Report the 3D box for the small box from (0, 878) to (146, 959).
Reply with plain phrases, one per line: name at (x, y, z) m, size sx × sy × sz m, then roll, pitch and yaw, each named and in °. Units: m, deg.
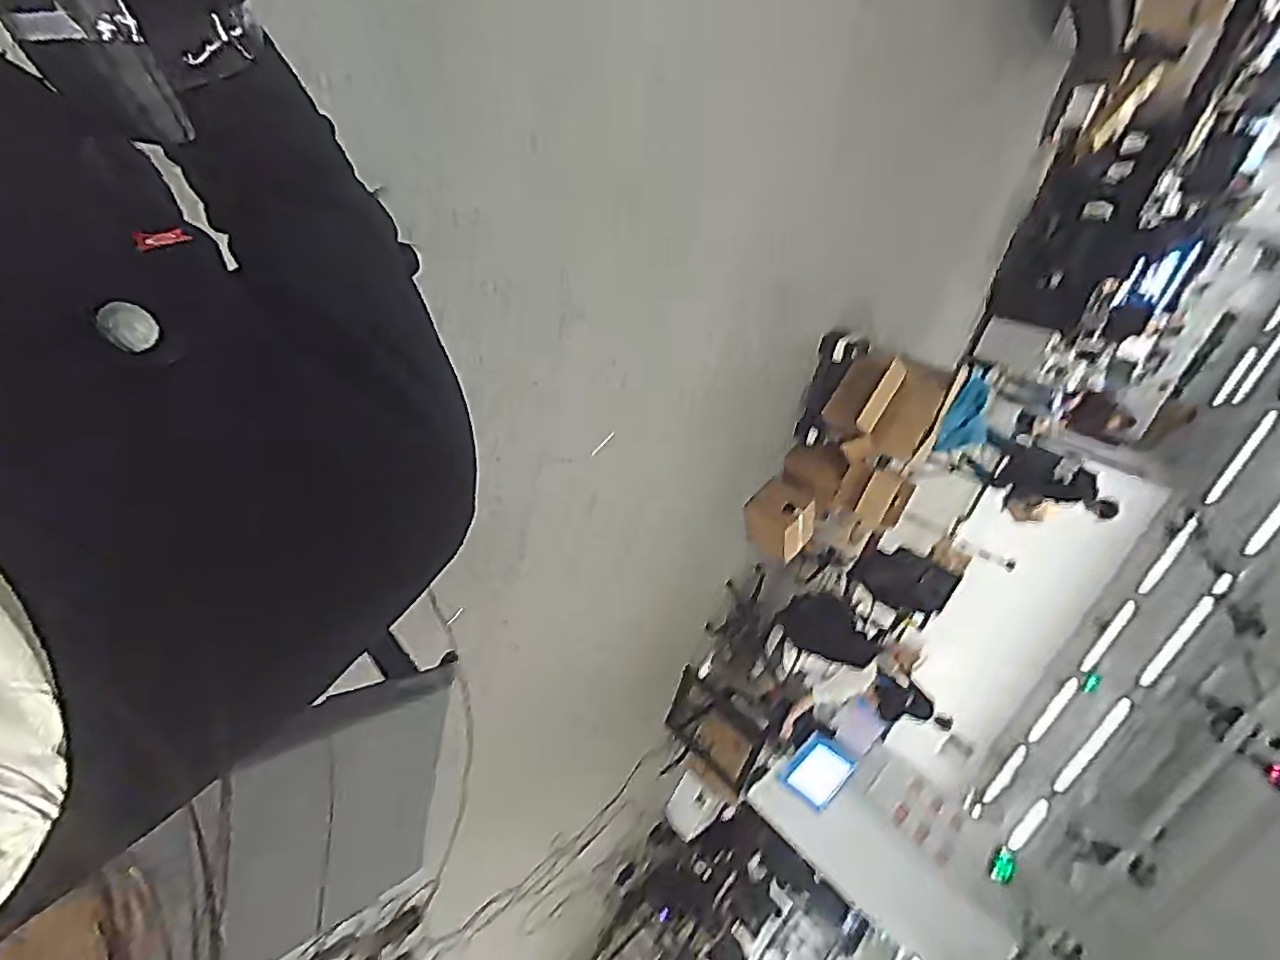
small box at (-0.766, 0.682, 0.707) m, size 0.179 × 0.176 × 0.168 m, roll -9°, pitch 124°, yaw -45°
